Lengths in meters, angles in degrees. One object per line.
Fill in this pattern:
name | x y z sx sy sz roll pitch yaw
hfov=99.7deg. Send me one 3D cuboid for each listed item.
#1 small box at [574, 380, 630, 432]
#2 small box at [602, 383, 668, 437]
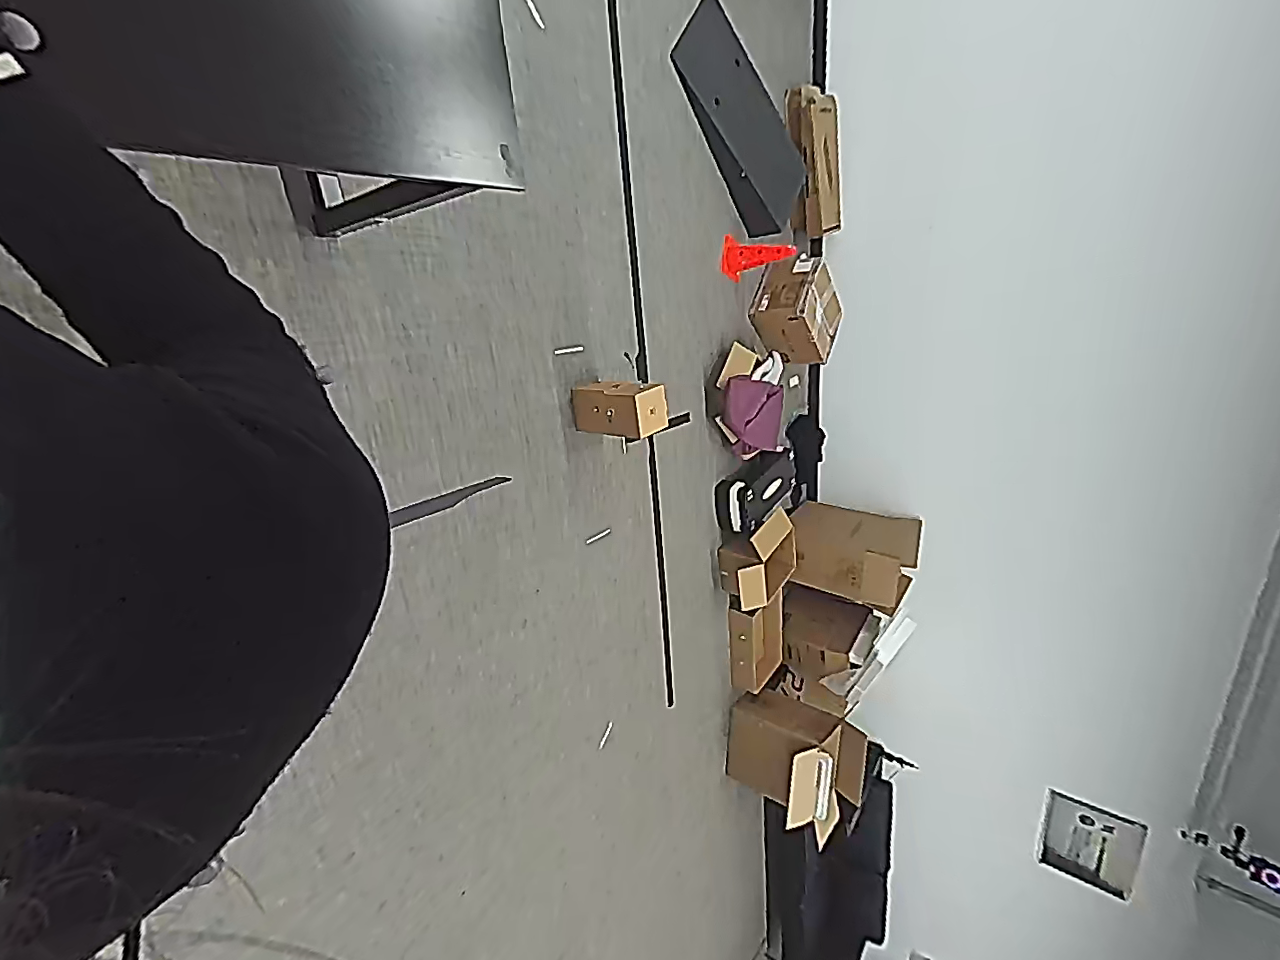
small box | -0.144 -0.296 2.134 0.168 0.176 0.179 -28 119 -45
small box | -0.019 -0.269 2.034 0.179 0.176 0.168 -30 119 -43
